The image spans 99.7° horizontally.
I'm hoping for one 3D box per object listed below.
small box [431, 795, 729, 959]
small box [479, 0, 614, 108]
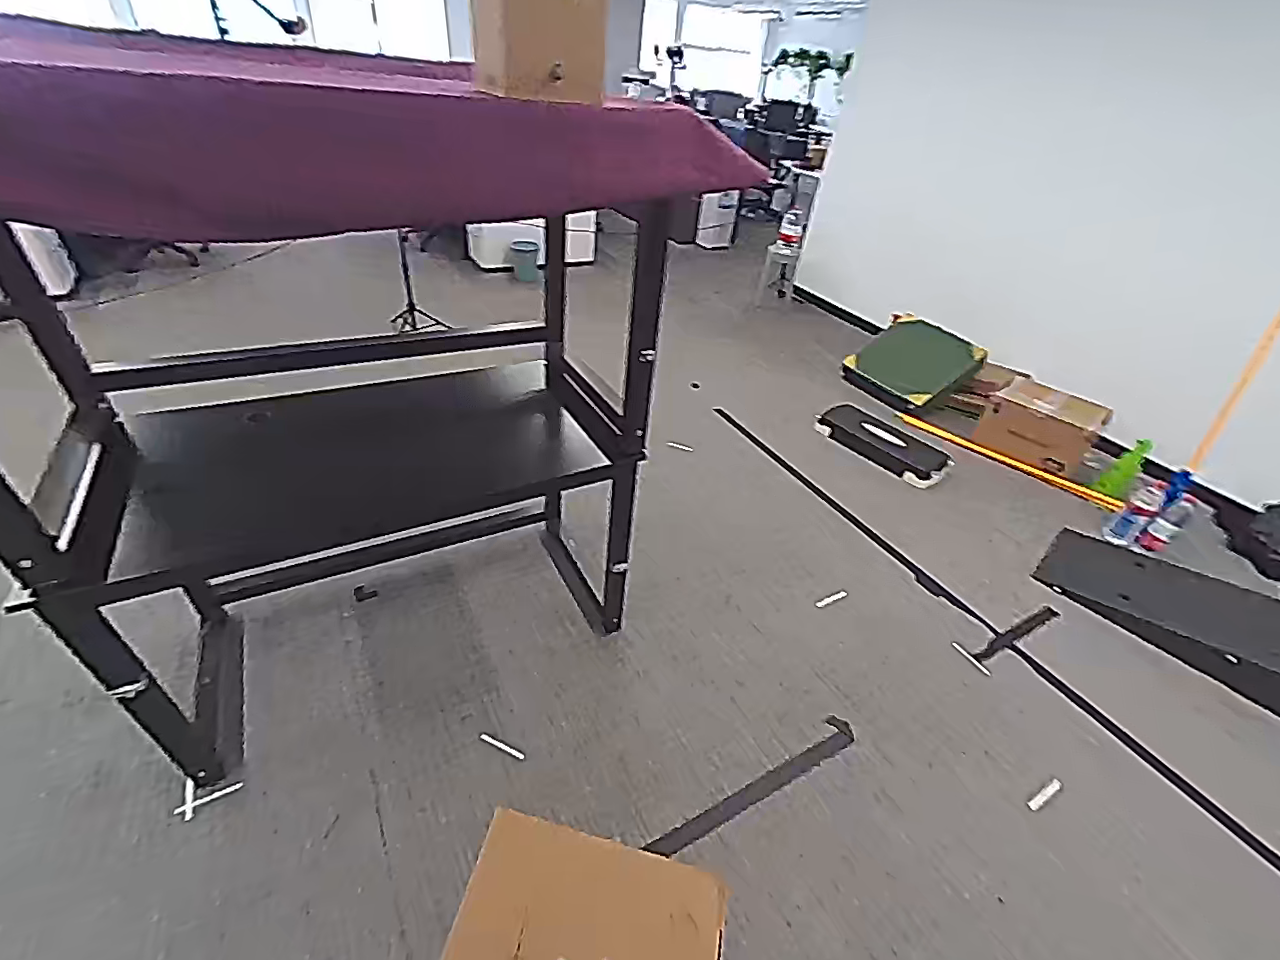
[{"bbox_3d":[-0.050,0.360,0.380,0.179,0.176,0.168,15,42,5],"label":"small box"},{"bbox_3d":[-0.160,-0.722,0.891,0.179,0.176,0.168,-15,41,-27],"label":"small box"}]
